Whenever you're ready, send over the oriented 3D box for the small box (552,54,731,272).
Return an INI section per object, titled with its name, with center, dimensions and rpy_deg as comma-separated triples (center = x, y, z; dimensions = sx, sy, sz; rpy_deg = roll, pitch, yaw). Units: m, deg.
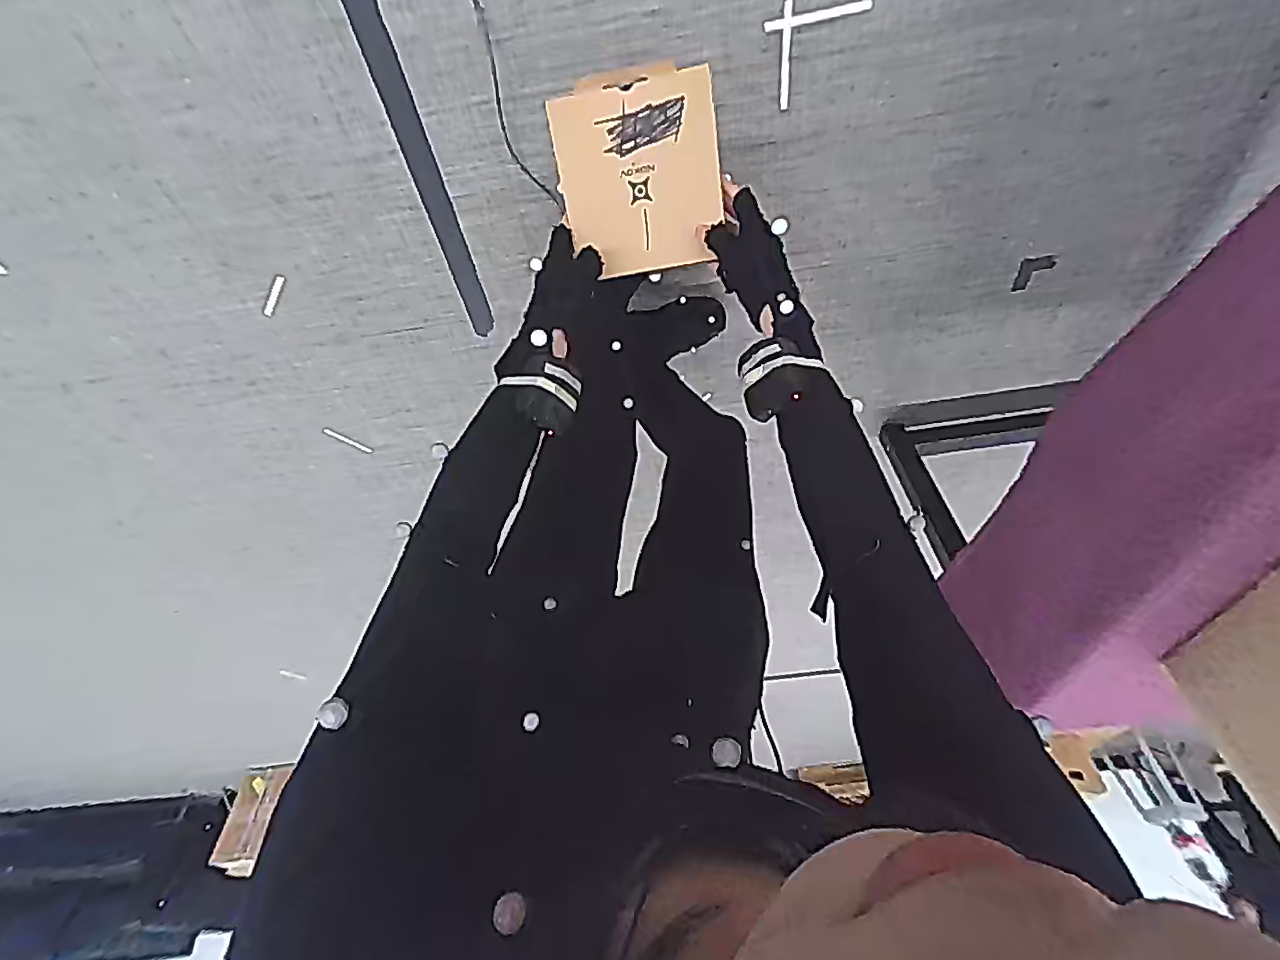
[small box]
center = 0.009, -0.346, 0.624
dimensions = 0.168, 0.176, 0.179
rpy_deg = -7, 113, 8
